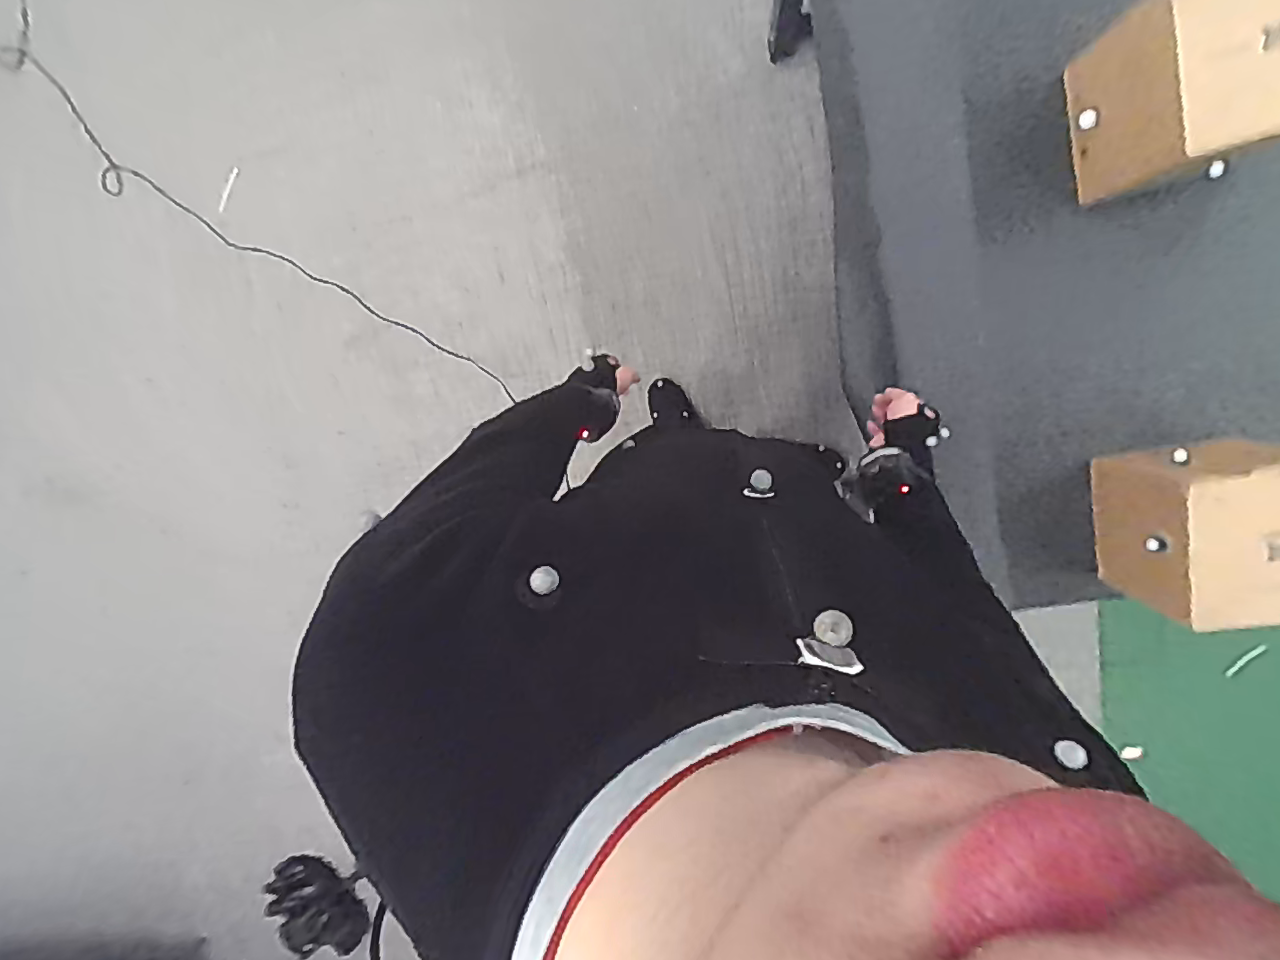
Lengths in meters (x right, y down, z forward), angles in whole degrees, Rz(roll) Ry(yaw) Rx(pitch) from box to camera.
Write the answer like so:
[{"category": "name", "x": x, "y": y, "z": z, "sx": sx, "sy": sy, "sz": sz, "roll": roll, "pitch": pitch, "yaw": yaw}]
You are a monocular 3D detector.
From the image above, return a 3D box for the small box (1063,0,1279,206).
[{"category": "small box", "x": 0.601, "y": -0.419, "z": 0.575, "sx": 0.179, "sy": 0.176, "sz": 0.168, "roll": -12, "pitch": 99, "yaw": 12}]

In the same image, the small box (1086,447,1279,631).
[{"category": "small box", "x": 0.685, "y": 0.060, "z": 0.657, "sx": 0.168, "sy": 0.176, "sz": 0.179, "roll": -9, "pitch": 100, "yaw": 11}]
